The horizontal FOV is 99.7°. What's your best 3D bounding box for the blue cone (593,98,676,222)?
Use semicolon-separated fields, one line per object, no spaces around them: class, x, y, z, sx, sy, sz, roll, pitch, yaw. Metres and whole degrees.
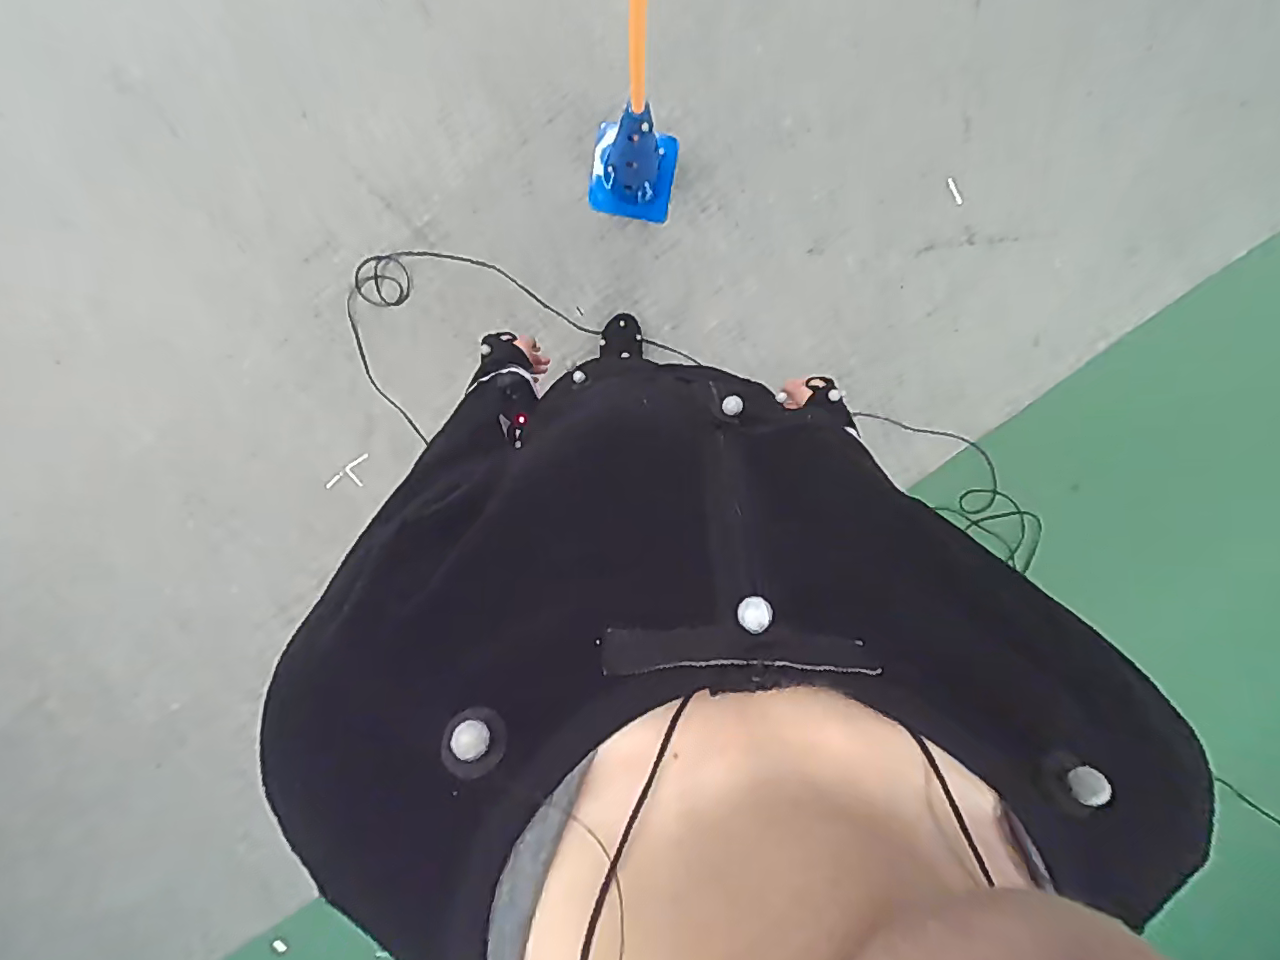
blue cone;-0.009;-0.699;1.142;0.192;0.380;0.193;8;101;-4
